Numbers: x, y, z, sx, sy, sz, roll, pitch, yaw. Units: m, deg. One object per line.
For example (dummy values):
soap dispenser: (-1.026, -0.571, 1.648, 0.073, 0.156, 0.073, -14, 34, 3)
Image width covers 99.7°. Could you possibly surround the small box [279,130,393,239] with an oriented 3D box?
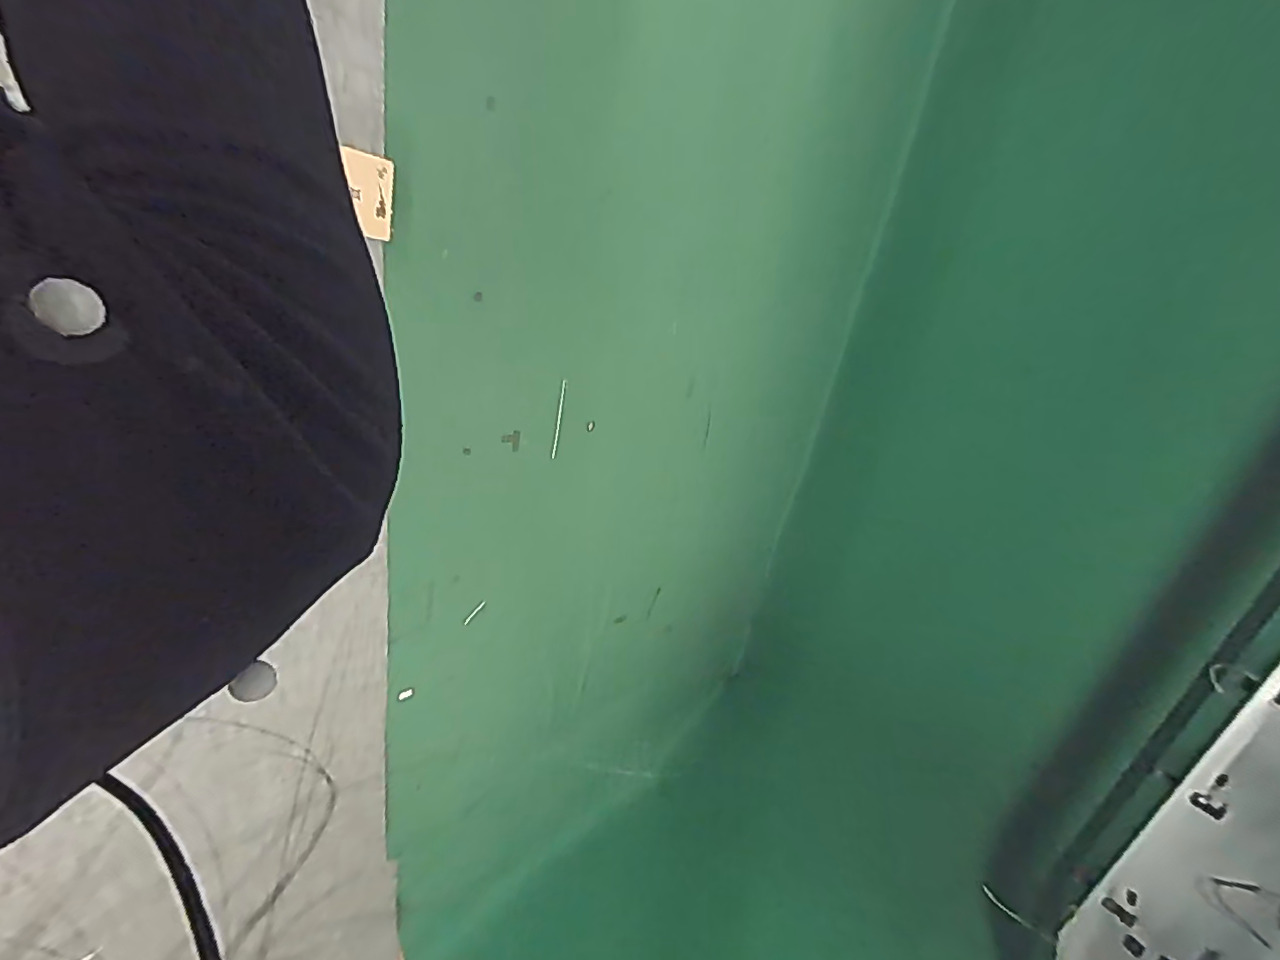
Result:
small box: (-0.667, -0.639, 1.179, 0.179, 0.176, 0.168, -9, 120, -48)
